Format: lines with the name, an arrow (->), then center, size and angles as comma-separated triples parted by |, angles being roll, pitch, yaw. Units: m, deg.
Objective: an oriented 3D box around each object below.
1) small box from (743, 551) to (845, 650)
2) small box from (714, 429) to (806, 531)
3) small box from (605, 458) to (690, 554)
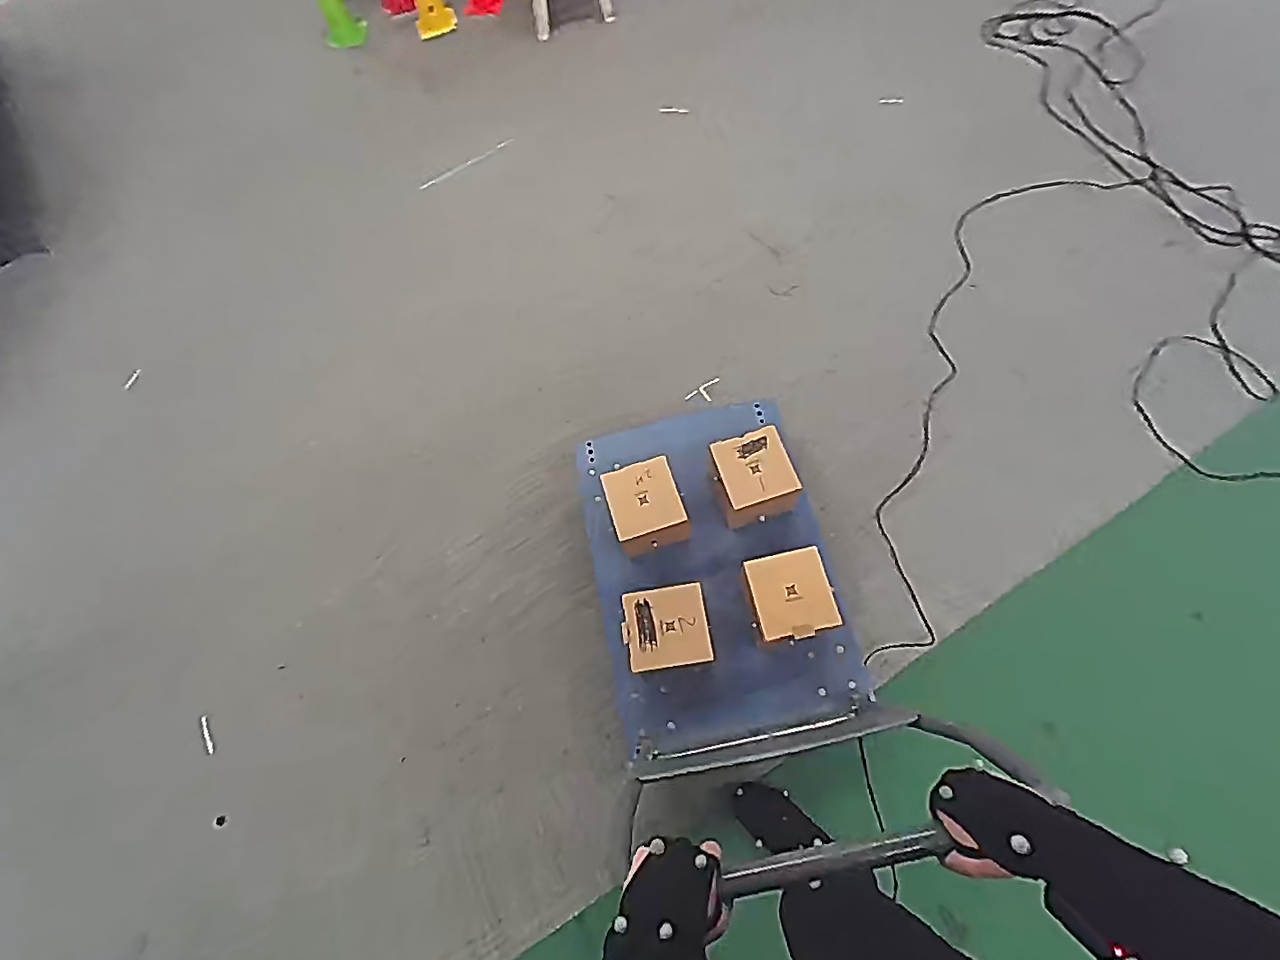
small box -> 0.336, 0.277, 1.220 | 0.168, 0.176, 0.179 | -12, 69, 1
small box -> 0.285, 0.005, 1.330 | 0.168, 0.176, 0.179 | -17, 69, -1
small box -> 0.023, 0.073, 1.328 | 0.168, 0.176, 0.179 | -16, 68, -2
